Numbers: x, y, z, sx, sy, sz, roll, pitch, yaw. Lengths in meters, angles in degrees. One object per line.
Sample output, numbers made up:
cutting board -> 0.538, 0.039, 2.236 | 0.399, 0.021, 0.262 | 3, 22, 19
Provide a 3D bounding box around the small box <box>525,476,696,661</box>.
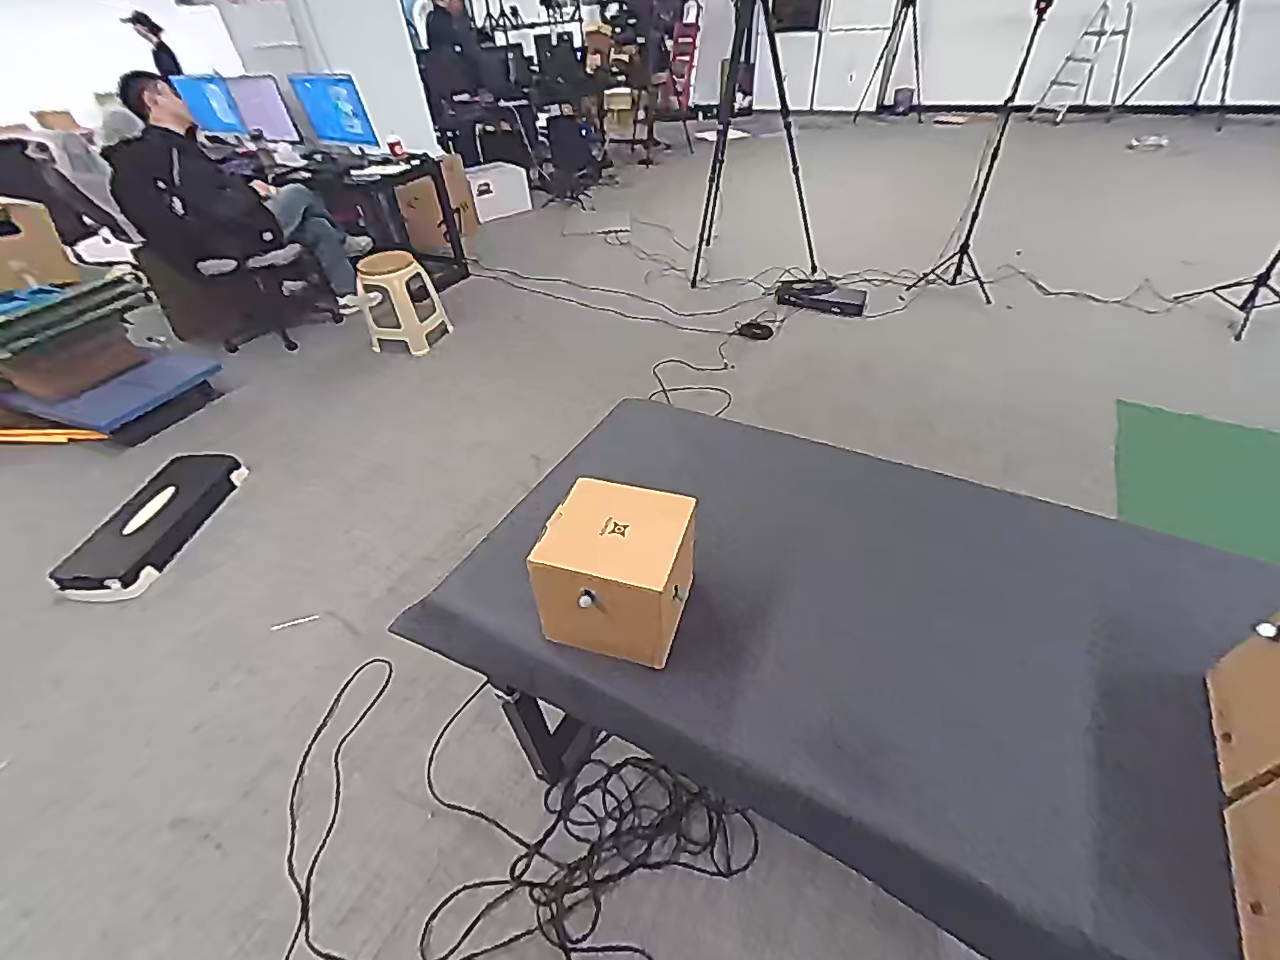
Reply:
small box -> -0.029, 0.121, 0.738 | 0.179, 0.176, 0.168 | 10, 42, 16
